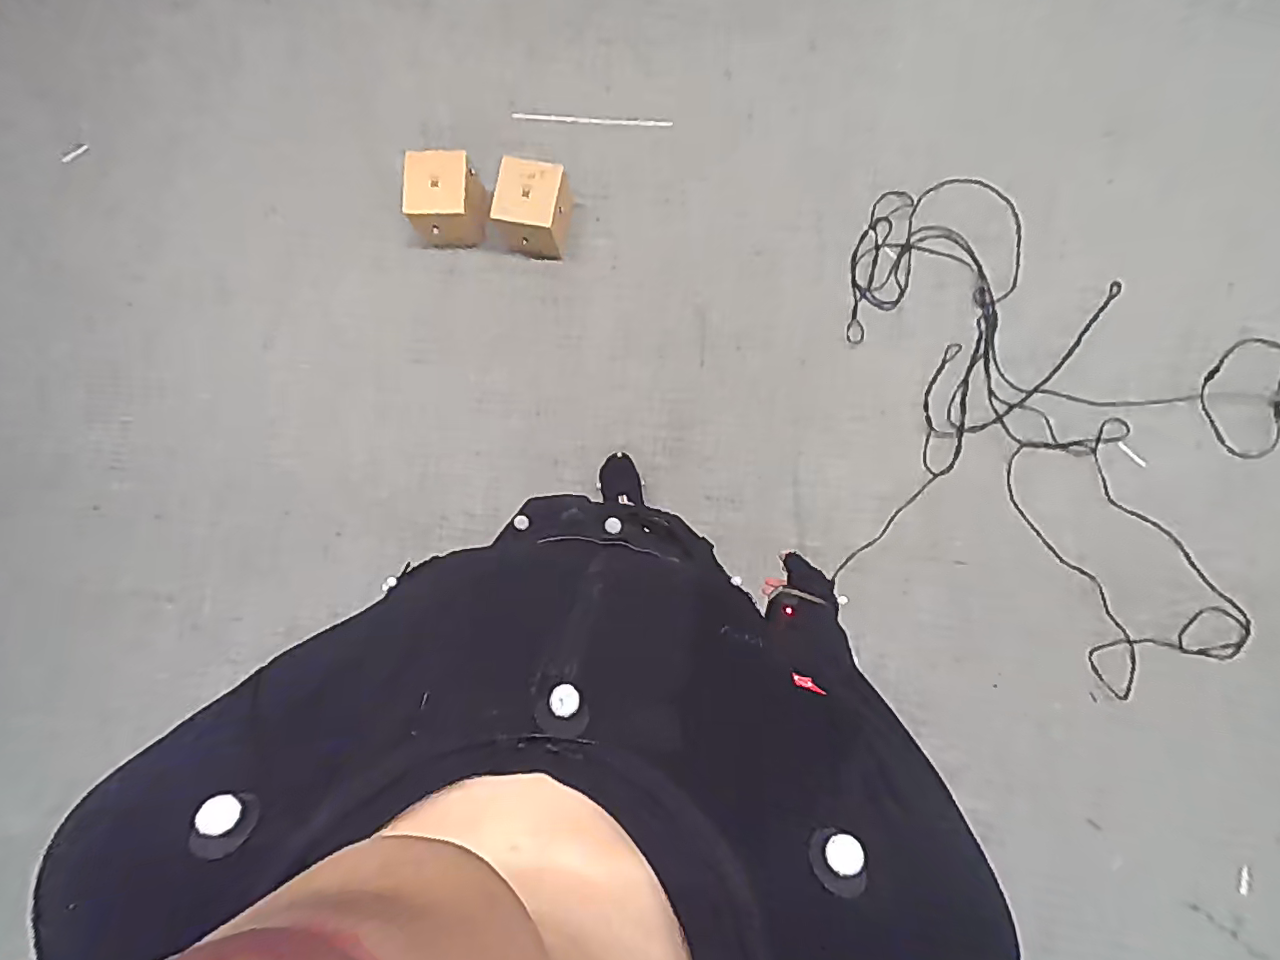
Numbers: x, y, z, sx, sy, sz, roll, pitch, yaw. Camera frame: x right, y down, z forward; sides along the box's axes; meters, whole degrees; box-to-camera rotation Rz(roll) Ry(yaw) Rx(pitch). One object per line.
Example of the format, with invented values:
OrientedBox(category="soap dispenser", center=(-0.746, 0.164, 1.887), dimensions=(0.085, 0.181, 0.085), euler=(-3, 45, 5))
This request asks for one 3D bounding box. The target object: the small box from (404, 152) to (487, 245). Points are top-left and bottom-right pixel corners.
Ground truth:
OrientedBox(category="small box", center=(-0.530, -0.767, 1.492), dimensions=(0.168, 0.176, 0.179), euler=(0, 85, 2))

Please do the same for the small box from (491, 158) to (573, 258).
OrientedBox(category="small box", center=(-0.287, -0.736, 1.479), dimensions=(0.168, 0.176, 0.179), euler=(11, 85, 3))
